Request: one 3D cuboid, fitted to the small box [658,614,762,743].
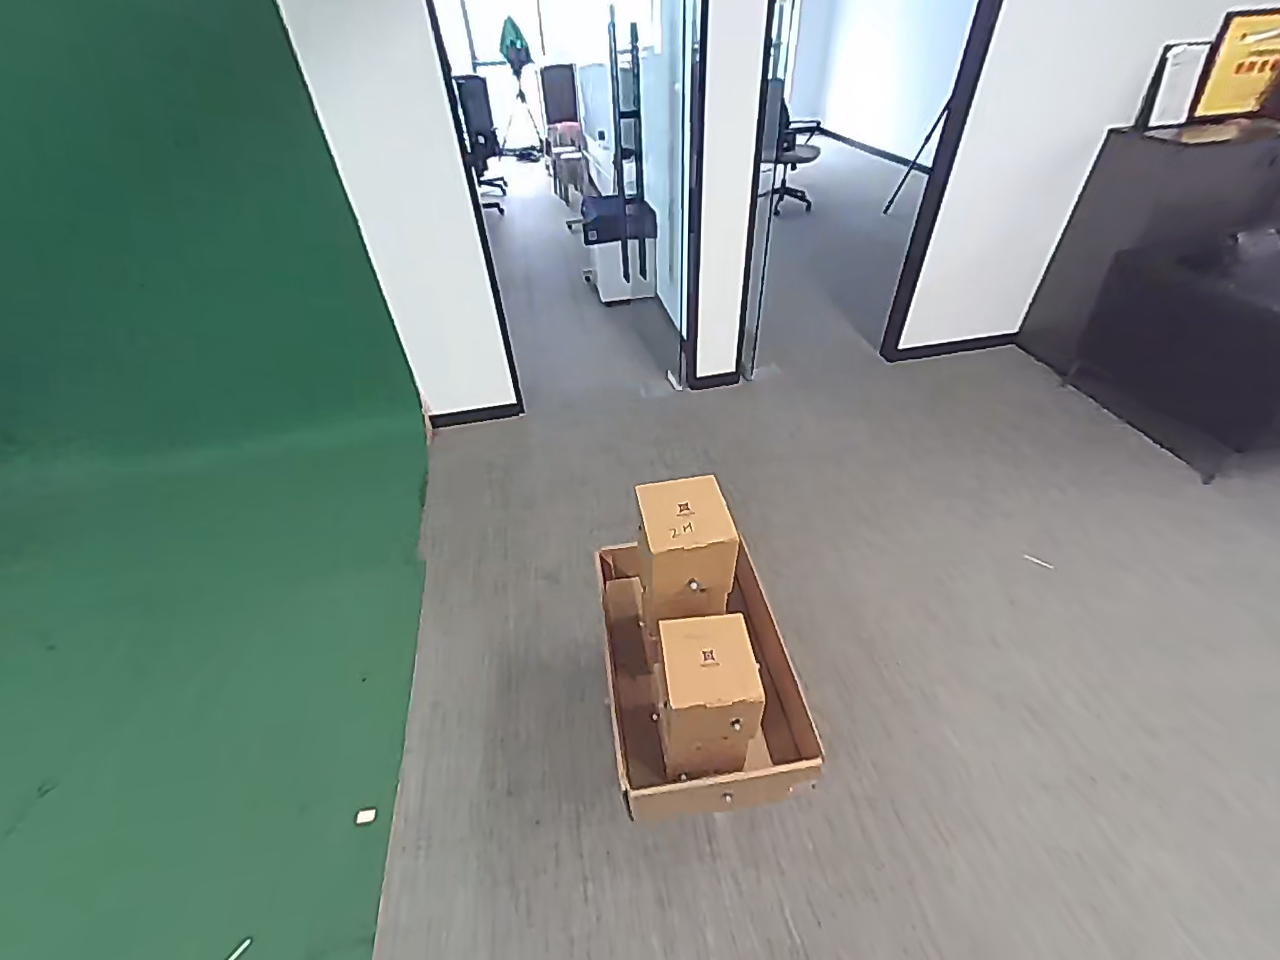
[{"bbox_3d":[0.125,0.381,1.028,0.168,0.176,0.179,-4,41,-3],"label":"small box"}]

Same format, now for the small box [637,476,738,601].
[{"bbox_3d":[0.086,0.117,1.086,0.168,0.176,0.179,-8,45,-6],"label":"small box"}]

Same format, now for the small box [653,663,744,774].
[{"bbox_3d":[0.121,0.499,1.141,0.168,0.176,0.179,-6,41,-4],"label":"small box"}]

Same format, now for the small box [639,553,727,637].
[{"bbox_3d":[0.088,0.227,1.210,0.168,0.176,0.179,-6,45,-5],"label":"small box"}]
